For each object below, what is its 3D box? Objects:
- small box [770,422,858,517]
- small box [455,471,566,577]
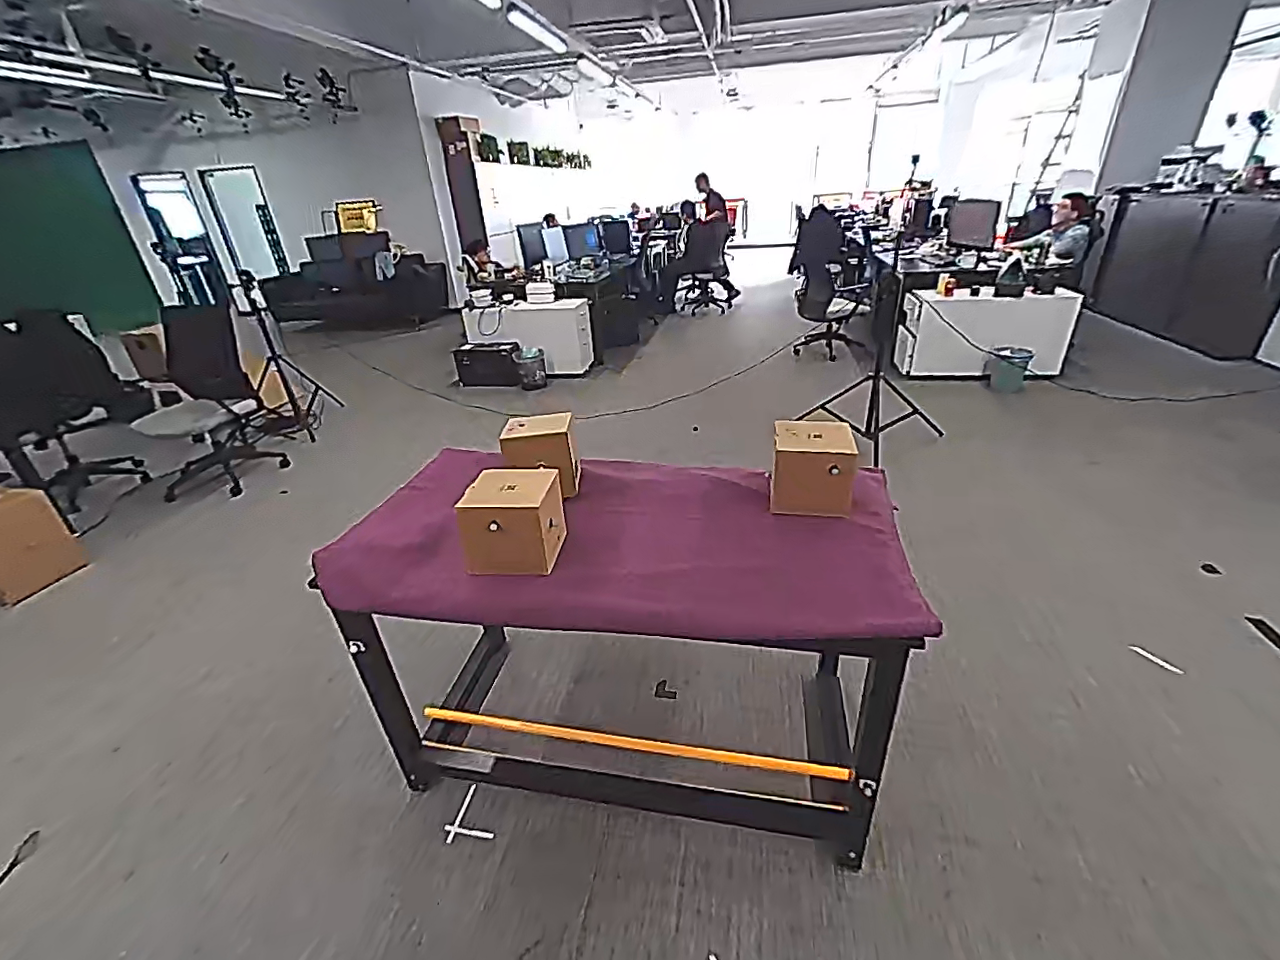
[{"bbox_3d":[0.403,-0.025,1.279,0.179,0.176,0.168,2,30,12],"label":"small box"},{"bbox_3d":[-0.264,0.094,1.155,0.179,0.176,0.168,-1,28,7],"label":"small box"}]
